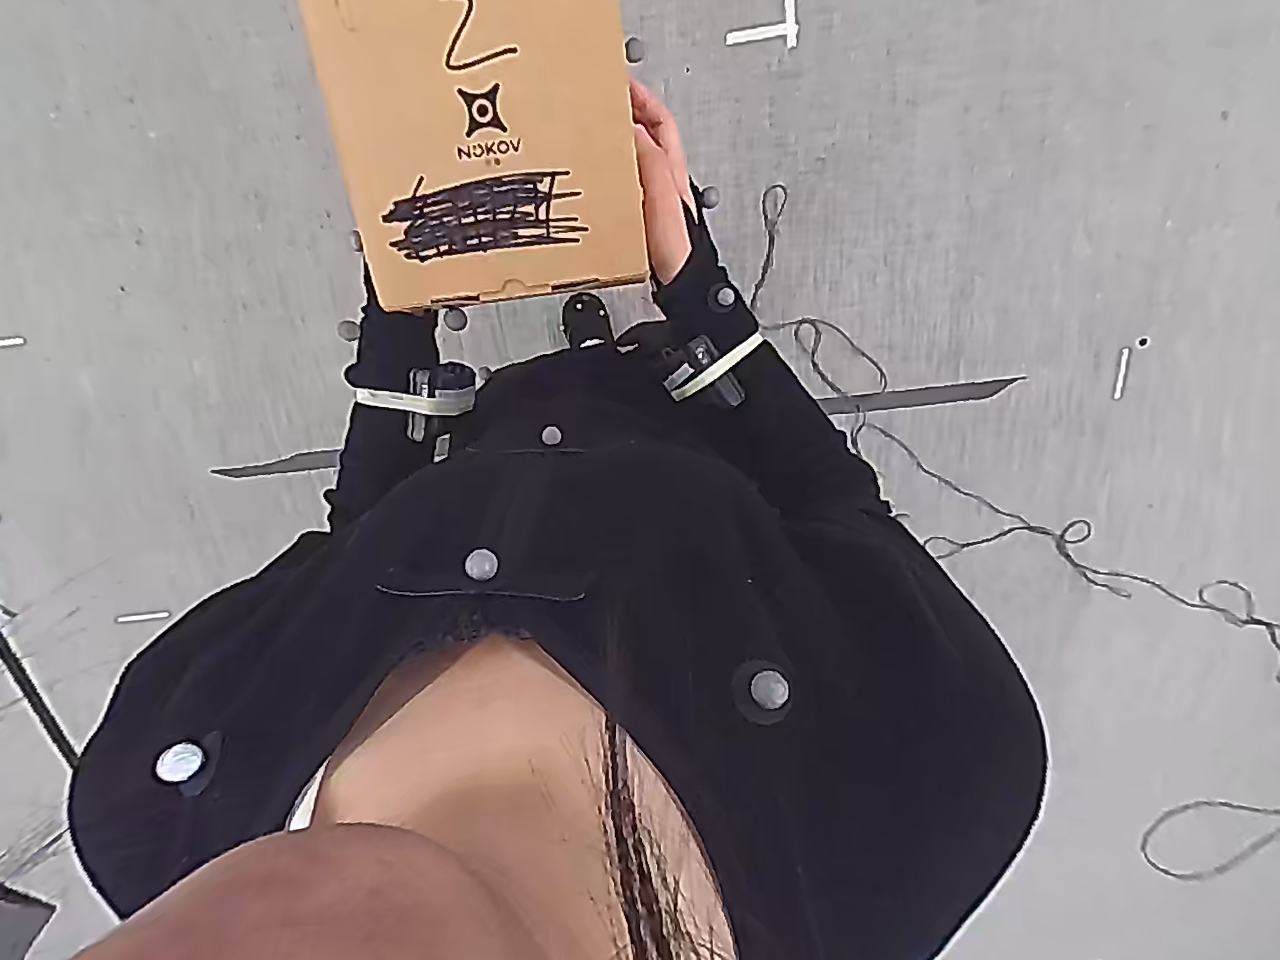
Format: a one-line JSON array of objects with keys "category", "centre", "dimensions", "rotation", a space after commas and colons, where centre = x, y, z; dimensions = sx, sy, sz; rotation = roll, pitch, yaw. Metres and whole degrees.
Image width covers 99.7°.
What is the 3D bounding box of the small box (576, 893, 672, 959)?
[{"category": "small box", "centre": [-0.025, 0.891, 0.971], "dimensions": [0.168, 0.176, 0.179], "rotation": [-5, 109, -3]}]
